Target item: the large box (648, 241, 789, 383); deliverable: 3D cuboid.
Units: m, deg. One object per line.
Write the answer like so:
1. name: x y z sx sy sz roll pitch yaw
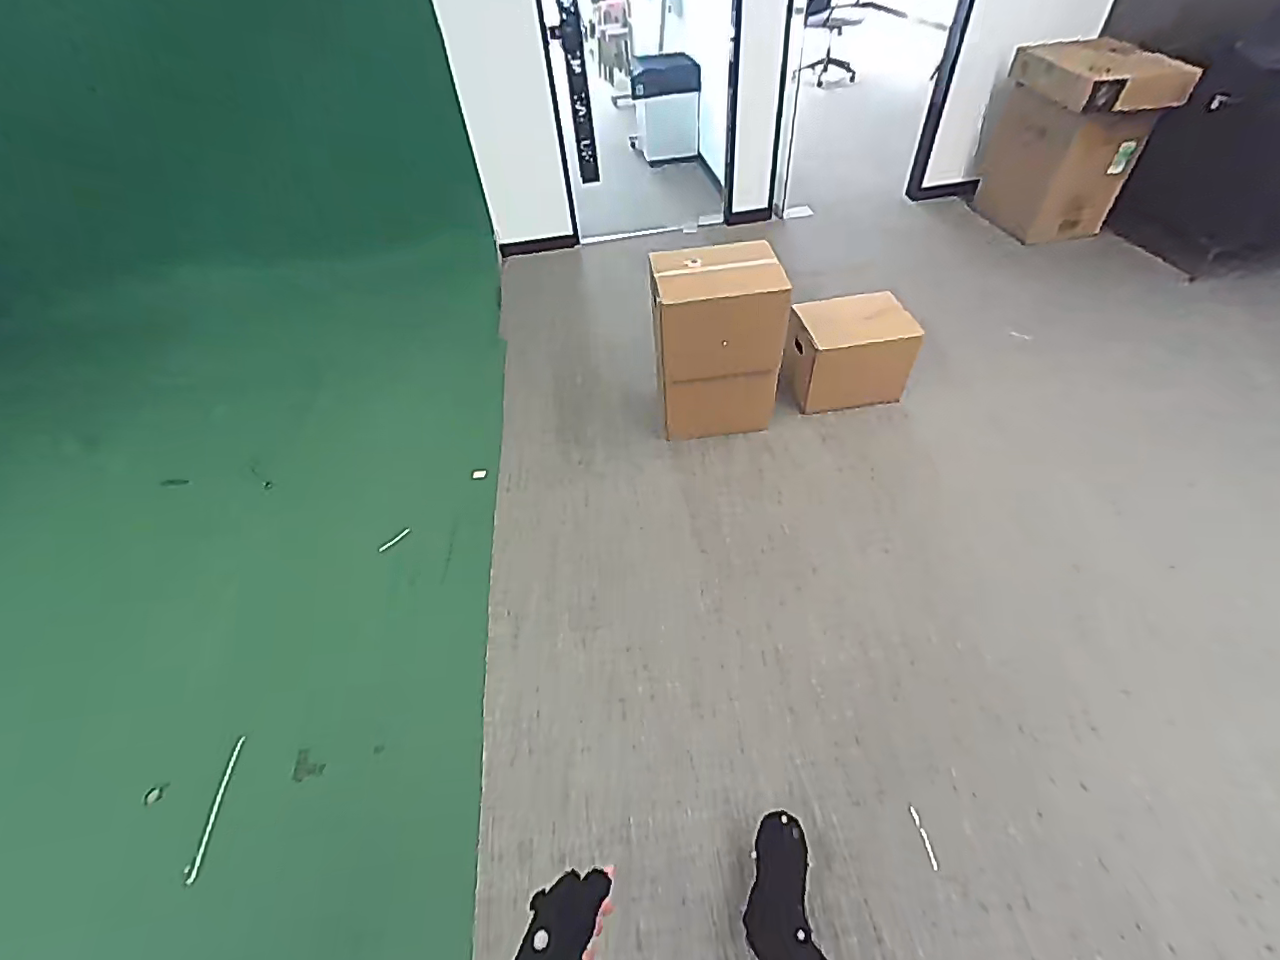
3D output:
1. large box: 0.252 -0.563 1.830 0.408 0.320 0.320 -8 50 0
